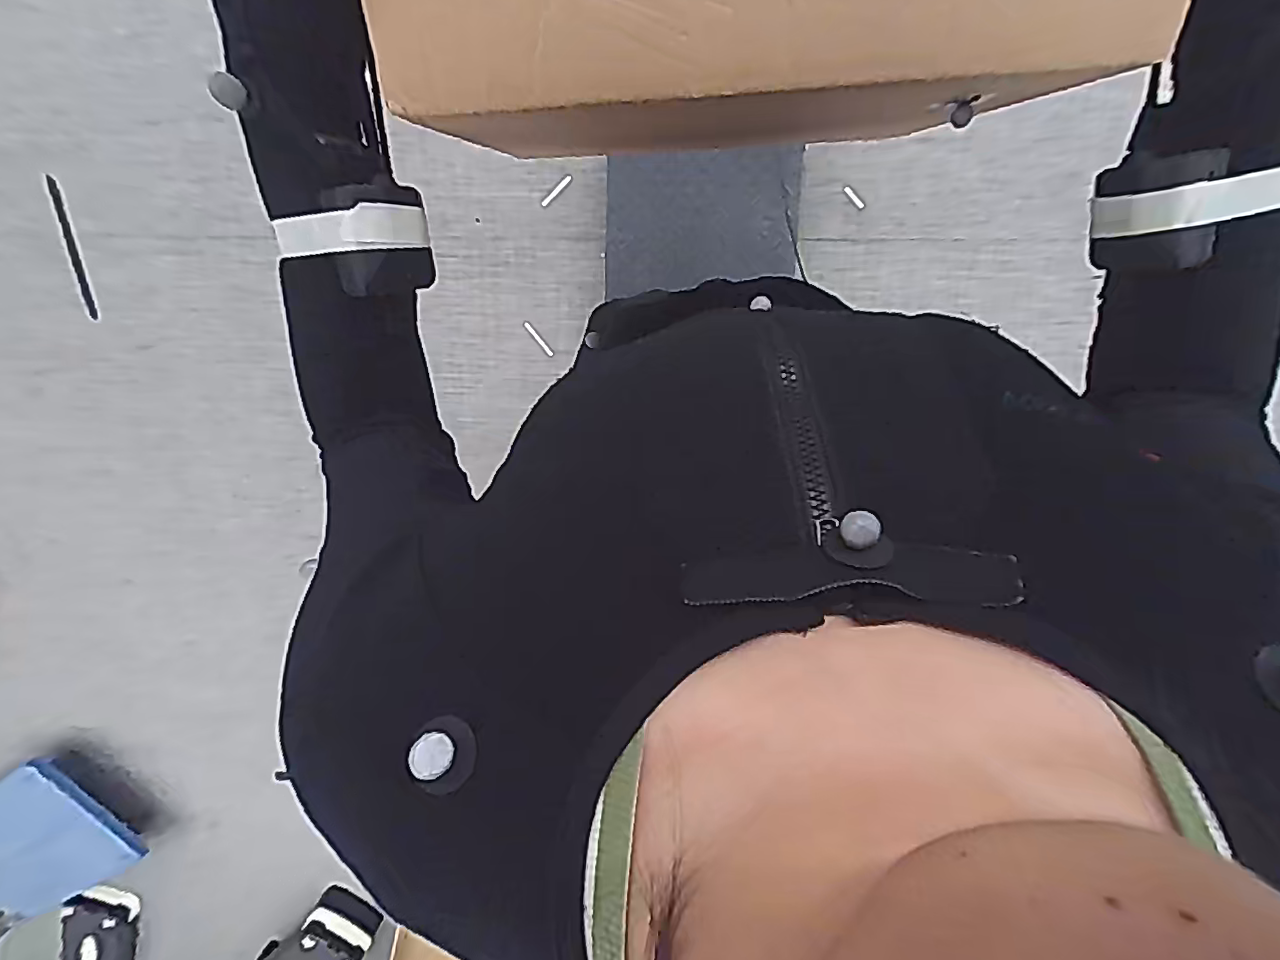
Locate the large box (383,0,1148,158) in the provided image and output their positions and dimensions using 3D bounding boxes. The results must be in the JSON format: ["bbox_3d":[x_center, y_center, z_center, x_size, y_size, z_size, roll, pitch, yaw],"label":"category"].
[{"bbox_3d":[0.060,-0.415,0.361,0.408,0.320,0.320,-2,116,3],"label":"large box"}]
